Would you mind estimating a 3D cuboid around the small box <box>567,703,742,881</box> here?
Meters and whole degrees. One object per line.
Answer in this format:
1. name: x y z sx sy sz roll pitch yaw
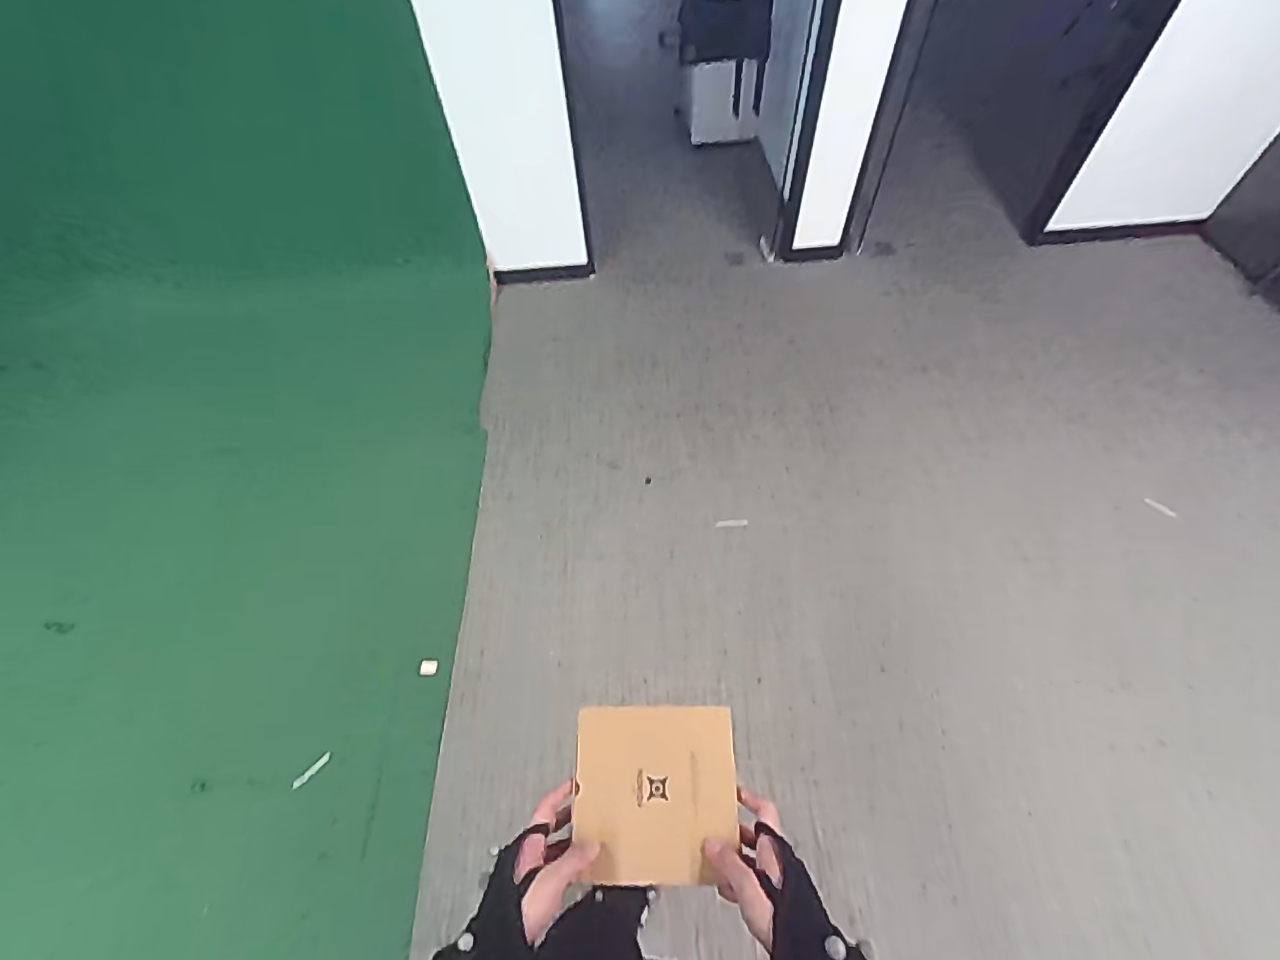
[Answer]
1. small box: 0.021 0.369 0.640 0.179 0.176 0.168 -1 56 3
